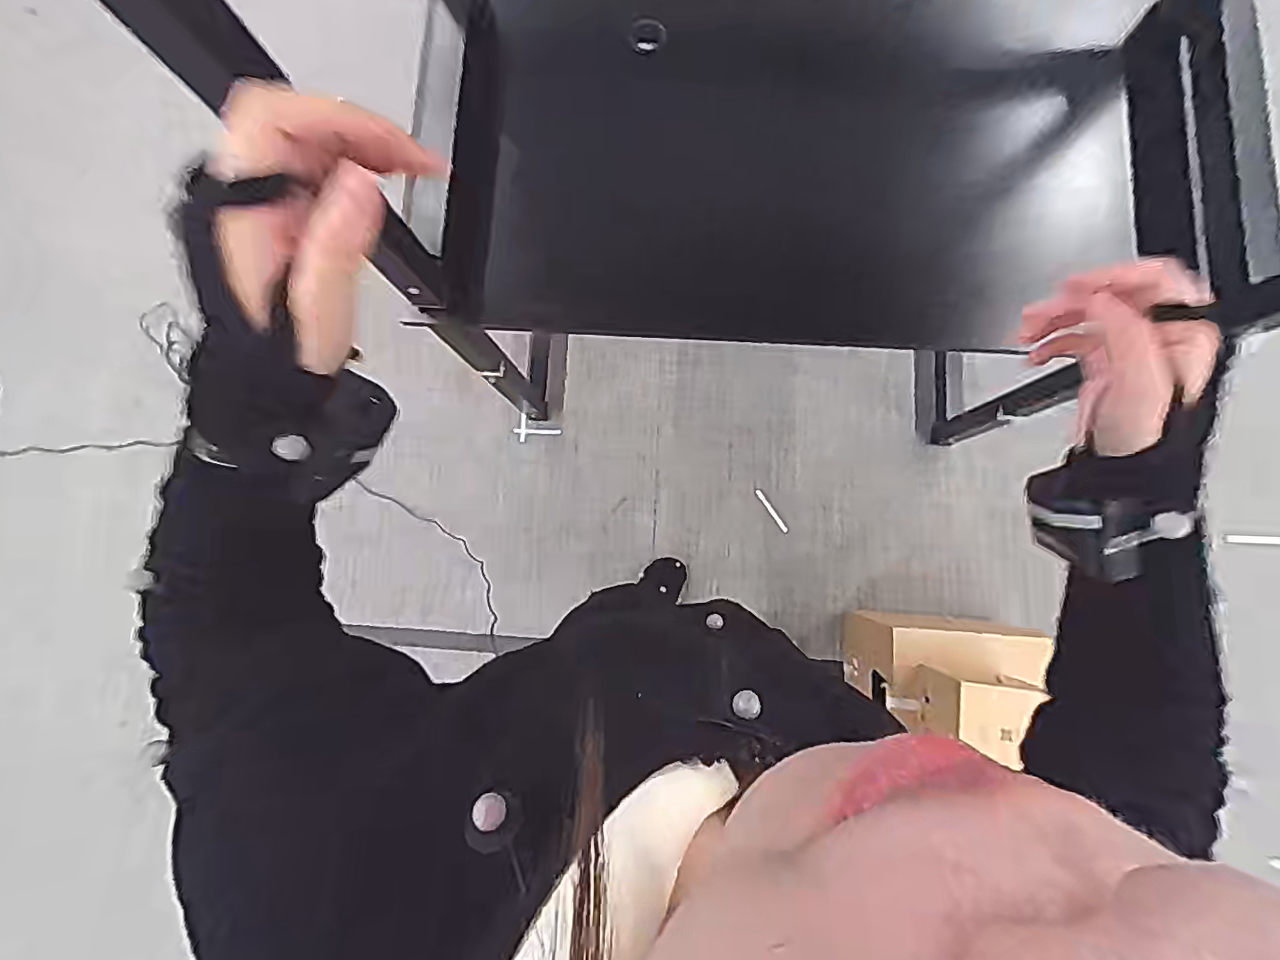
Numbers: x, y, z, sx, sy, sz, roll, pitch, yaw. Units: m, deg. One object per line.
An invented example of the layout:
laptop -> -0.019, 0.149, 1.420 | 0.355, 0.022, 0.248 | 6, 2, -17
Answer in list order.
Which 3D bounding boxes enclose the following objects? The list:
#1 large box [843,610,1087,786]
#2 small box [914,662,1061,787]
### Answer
large box -> 0.731, 0.487, 1.280 | 0.408, 0.320, 0.320 | 3, 84, 2
small box -> 0.660, 0.458, 1.039 | 0.179, 0.176, 0.168 | 7, 82, 4
